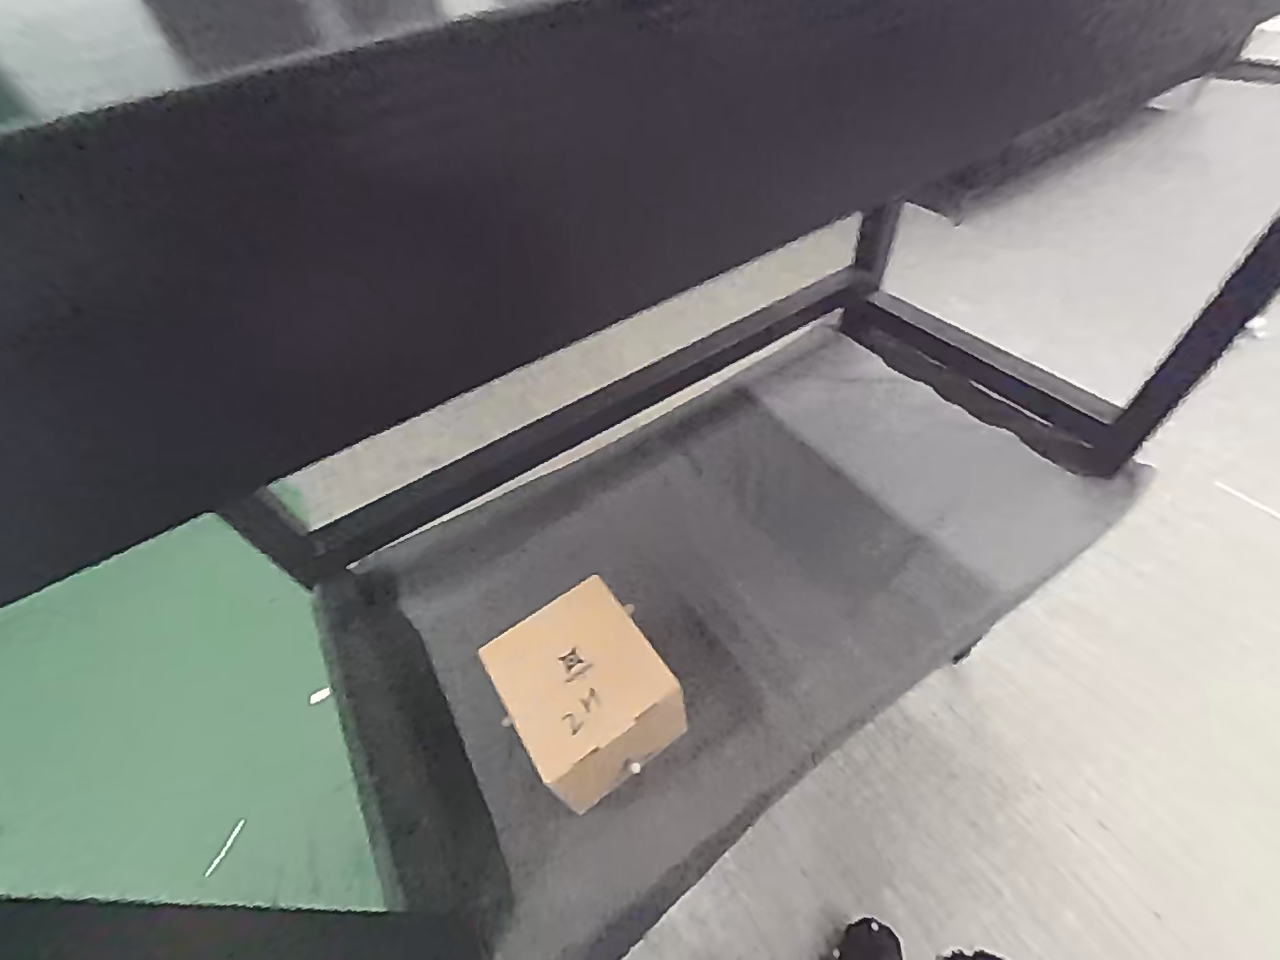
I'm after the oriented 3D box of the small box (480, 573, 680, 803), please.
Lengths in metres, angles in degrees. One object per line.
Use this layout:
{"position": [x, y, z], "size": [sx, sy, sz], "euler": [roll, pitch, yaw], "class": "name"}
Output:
{"position": [-0.067, 0.256, 0.663], "size": [0.168, 0.176, 0.179], "euler": [-31, 53, -17], "class": "small box"}
